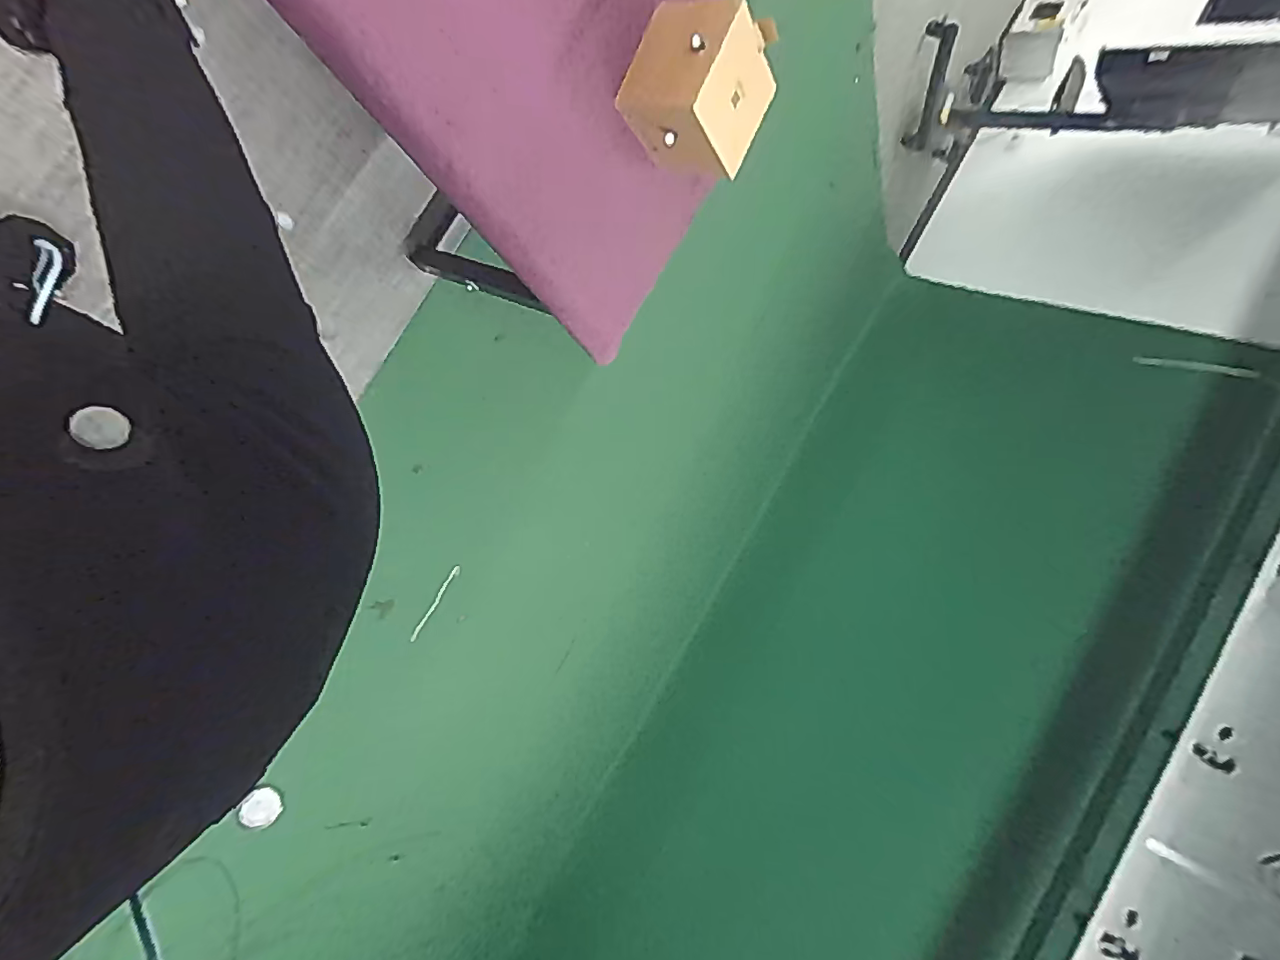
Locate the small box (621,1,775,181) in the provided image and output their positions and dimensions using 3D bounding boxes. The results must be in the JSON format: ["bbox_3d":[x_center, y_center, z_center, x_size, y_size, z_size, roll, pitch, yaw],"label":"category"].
[{"bbox_3d":[0.092,-0.635,0.900,0.168,0.176,0.179,21,95,-57],"label":"small box"}]
